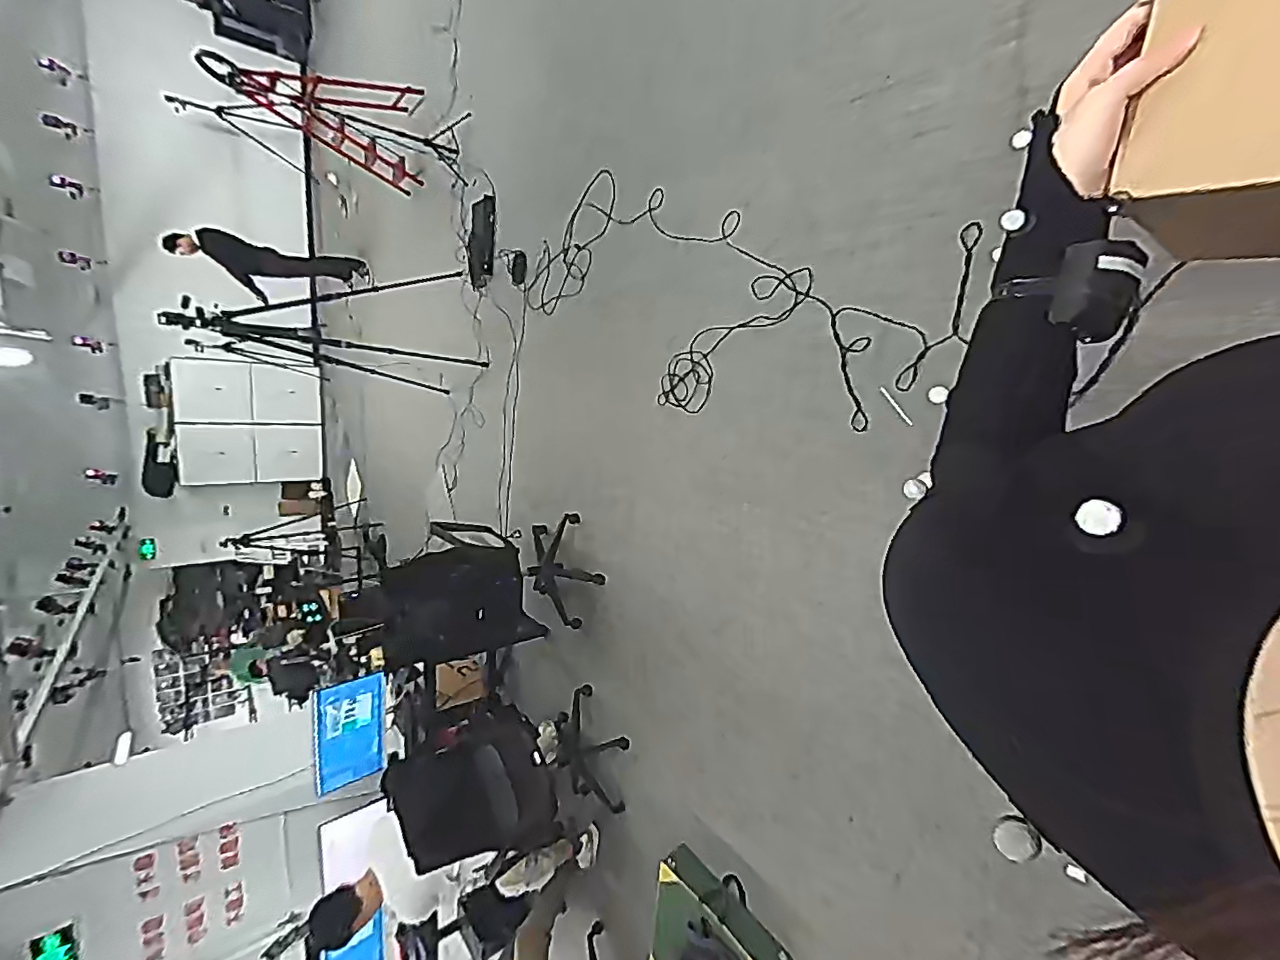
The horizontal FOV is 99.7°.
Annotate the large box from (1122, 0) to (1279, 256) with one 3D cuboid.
[{"bbox_3d":[0.600,-0.335,0.317,0.408,0.320,0.320,19,111,46],"label":"large box"}]
